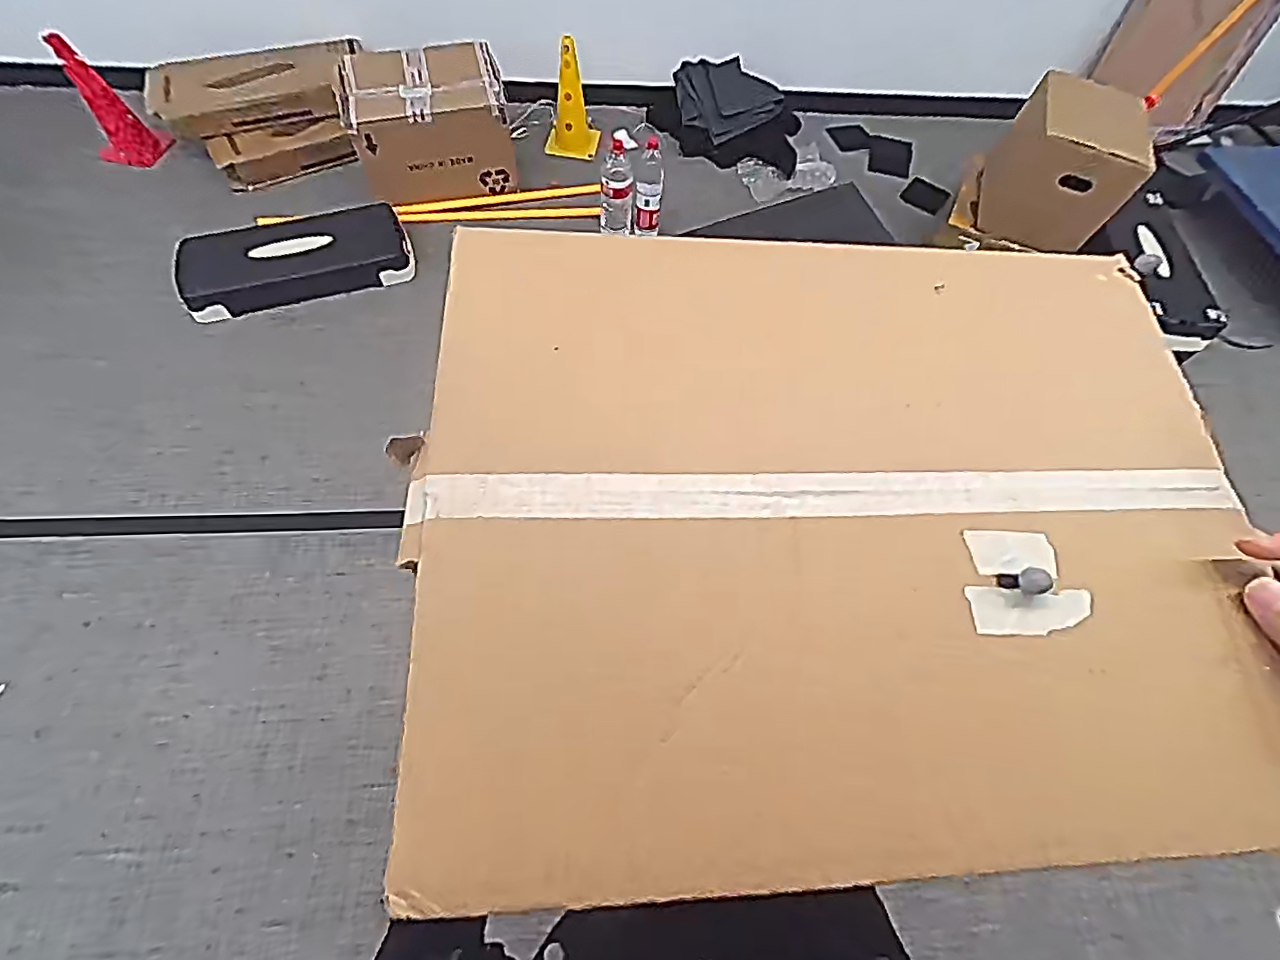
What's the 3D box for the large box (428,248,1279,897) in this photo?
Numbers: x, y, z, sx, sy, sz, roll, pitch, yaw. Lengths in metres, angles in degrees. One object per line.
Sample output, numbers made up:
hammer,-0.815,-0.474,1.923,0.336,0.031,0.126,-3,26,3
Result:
large box,0.091,0.062,0.413,0.408,0.320,0.320,0,70,-7
